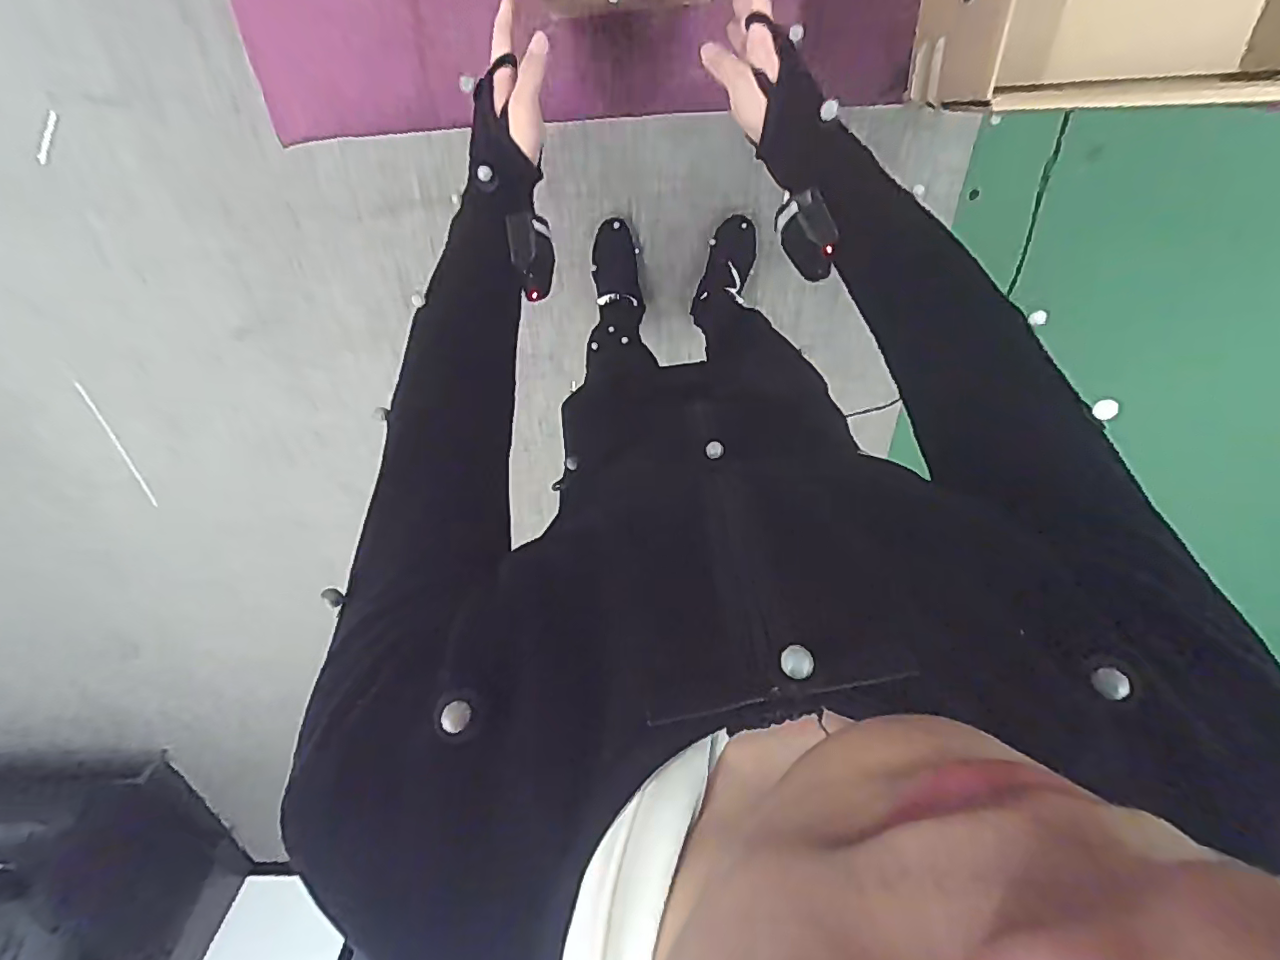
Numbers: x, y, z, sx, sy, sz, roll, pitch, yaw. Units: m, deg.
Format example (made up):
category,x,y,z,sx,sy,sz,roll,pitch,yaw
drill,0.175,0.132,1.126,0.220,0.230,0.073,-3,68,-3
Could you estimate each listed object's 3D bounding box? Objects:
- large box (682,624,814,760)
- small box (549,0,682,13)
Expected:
category,x,y,z,sx,sy,sz,roll,pitch,yaw
large box,0.419,0.852,2.177,0.408,0.320,0.320,-29,119,17
small box,-0.020,-0.543,0.480,0.179,0.176,0.168,-4,122,3
